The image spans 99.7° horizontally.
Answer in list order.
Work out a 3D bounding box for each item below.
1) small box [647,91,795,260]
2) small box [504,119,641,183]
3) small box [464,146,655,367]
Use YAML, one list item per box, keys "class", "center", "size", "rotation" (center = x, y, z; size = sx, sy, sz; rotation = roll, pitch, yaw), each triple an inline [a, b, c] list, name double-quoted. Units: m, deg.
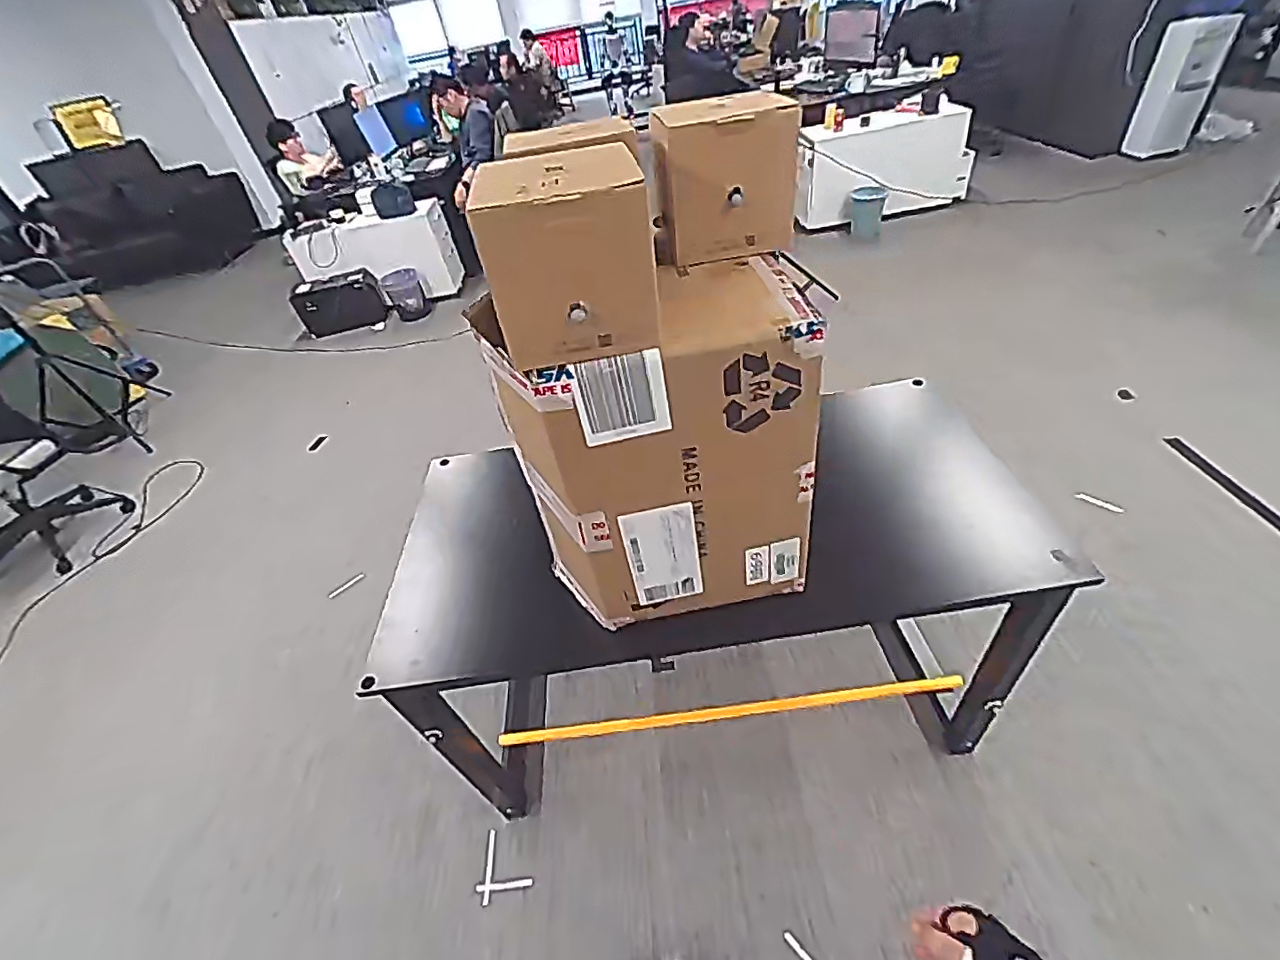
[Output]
- class: "small box"
  center: [0.108, -0.423, 0.760]
  size: [0.168, 0.176, 0.179]
  rotation: [-9, 42, -1]
- class: "small box"
  center: [-0.090, -0.396, 0.772]
  size: [0.168, 0.176, 0.179]
  rotation: [-13, 41, -3]
- class: "small box"
  center: [-0.081, -0.249, 0.603]
  size: [0.168, 0.176, 0.179]
  rotation: [-10, 43, -1]
